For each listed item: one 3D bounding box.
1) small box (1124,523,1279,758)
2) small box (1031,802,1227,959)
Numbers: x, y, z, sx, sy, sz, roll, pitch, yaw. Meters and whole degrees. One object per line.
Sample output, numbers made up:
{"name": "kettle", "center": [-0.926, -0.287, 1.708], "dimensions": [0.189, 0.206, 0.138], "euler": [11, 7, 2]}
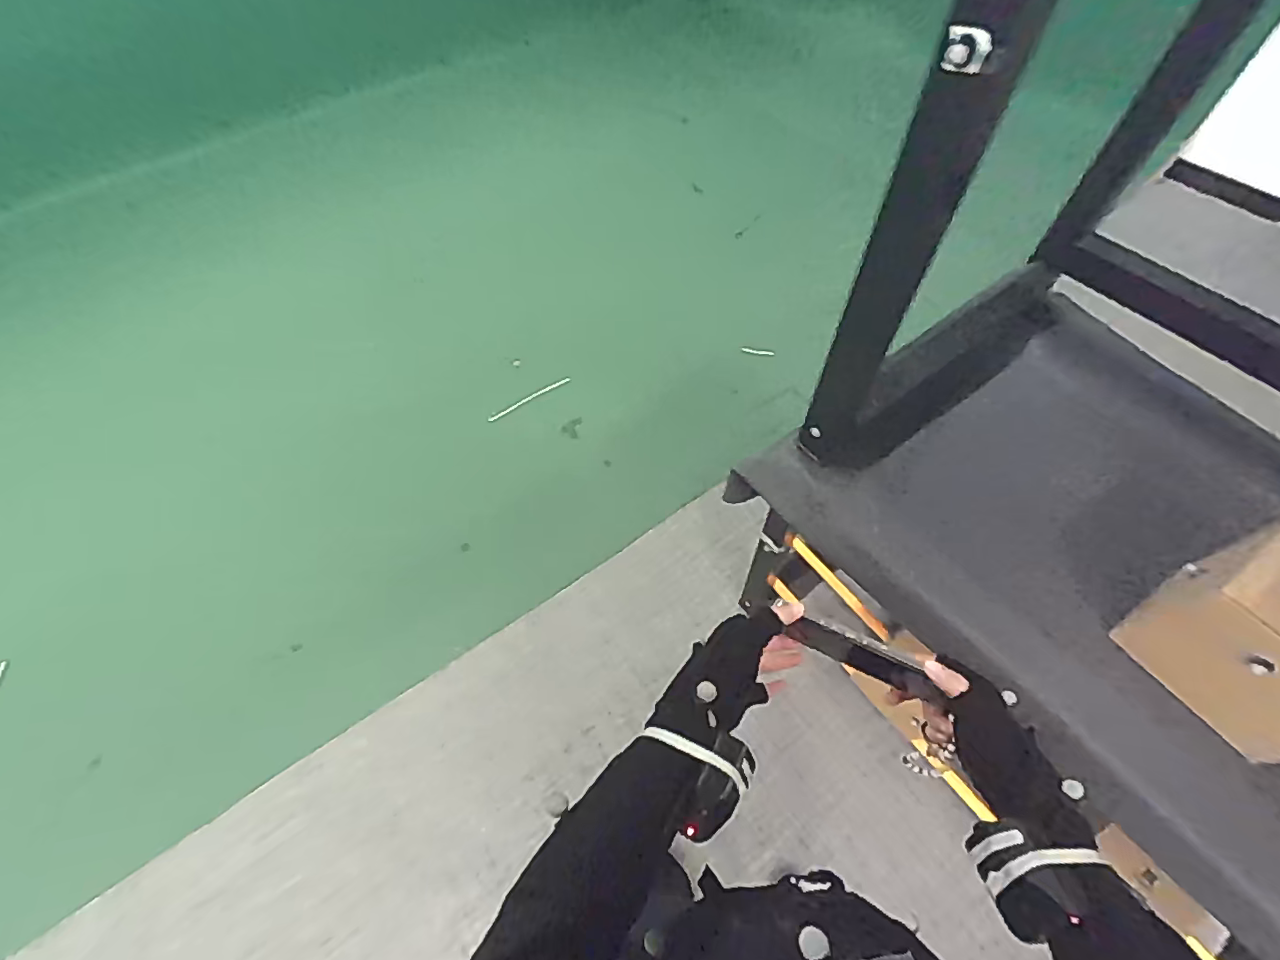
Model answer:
{"name": "small box", "center": [0.697, 0.170, 0.582], "dimensions": [0.168, 0.176, 0.179], "euler": [-30, 62, -14]}
{"name": "small box", "center": [0.857, 0.713, 0.973], "dimensions": [0.179, 0.176, 0.168], "euler": [-30, 62, -14]}
